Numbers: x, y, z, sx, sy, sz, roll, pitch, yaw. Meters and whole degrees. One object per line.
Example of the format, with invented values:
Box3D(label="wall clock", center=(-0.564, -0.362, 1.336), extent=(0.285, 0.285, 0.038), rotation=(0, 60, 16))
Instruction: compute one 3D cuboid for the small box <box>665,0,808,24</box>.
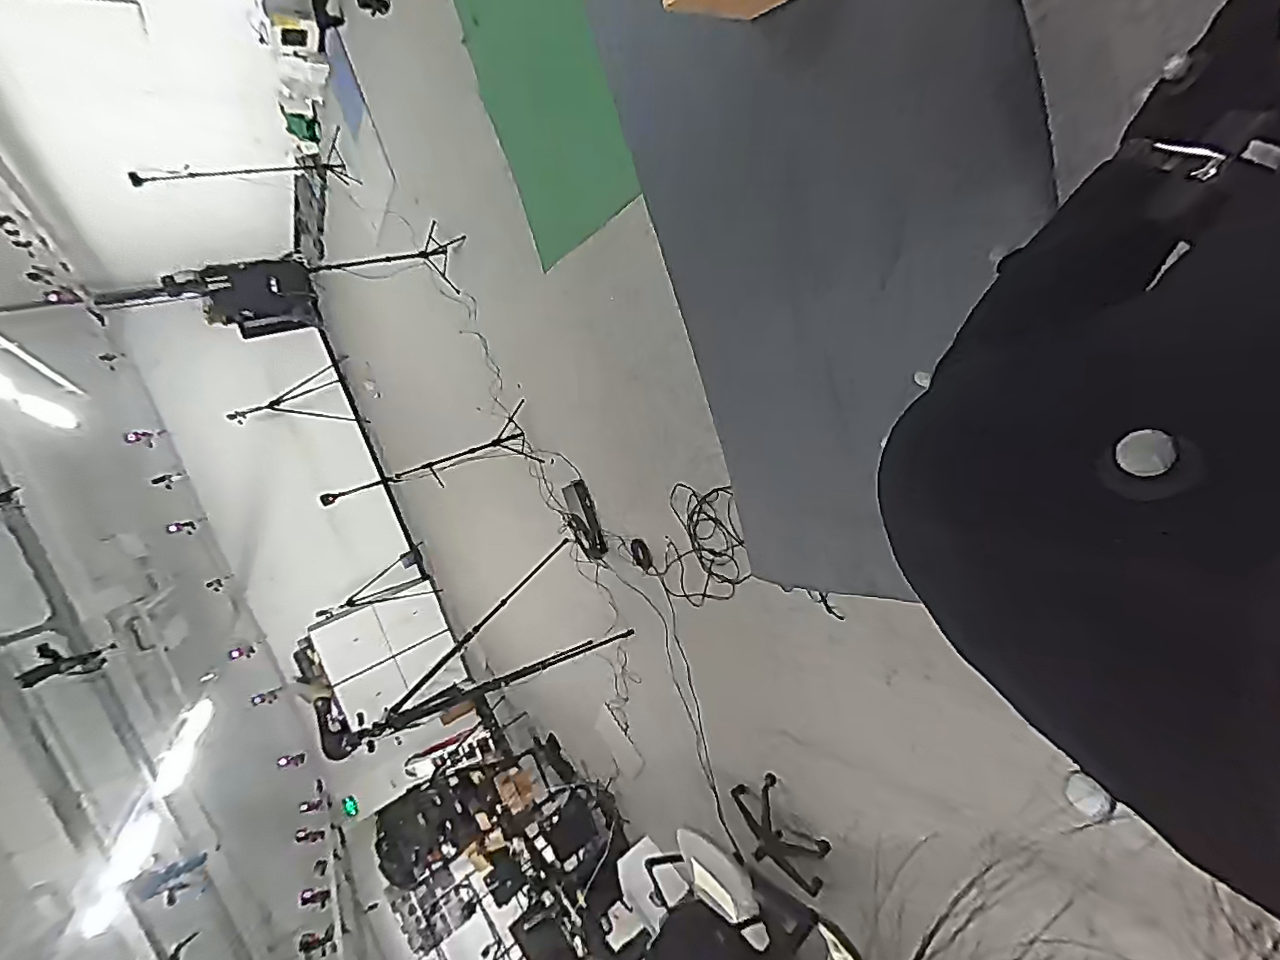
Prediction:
Box3D(label="small box", center=(0.141, -0.688, 0.655), extent=(0.179, 0.176, 0.168), rotation=(24, 129, 50))
